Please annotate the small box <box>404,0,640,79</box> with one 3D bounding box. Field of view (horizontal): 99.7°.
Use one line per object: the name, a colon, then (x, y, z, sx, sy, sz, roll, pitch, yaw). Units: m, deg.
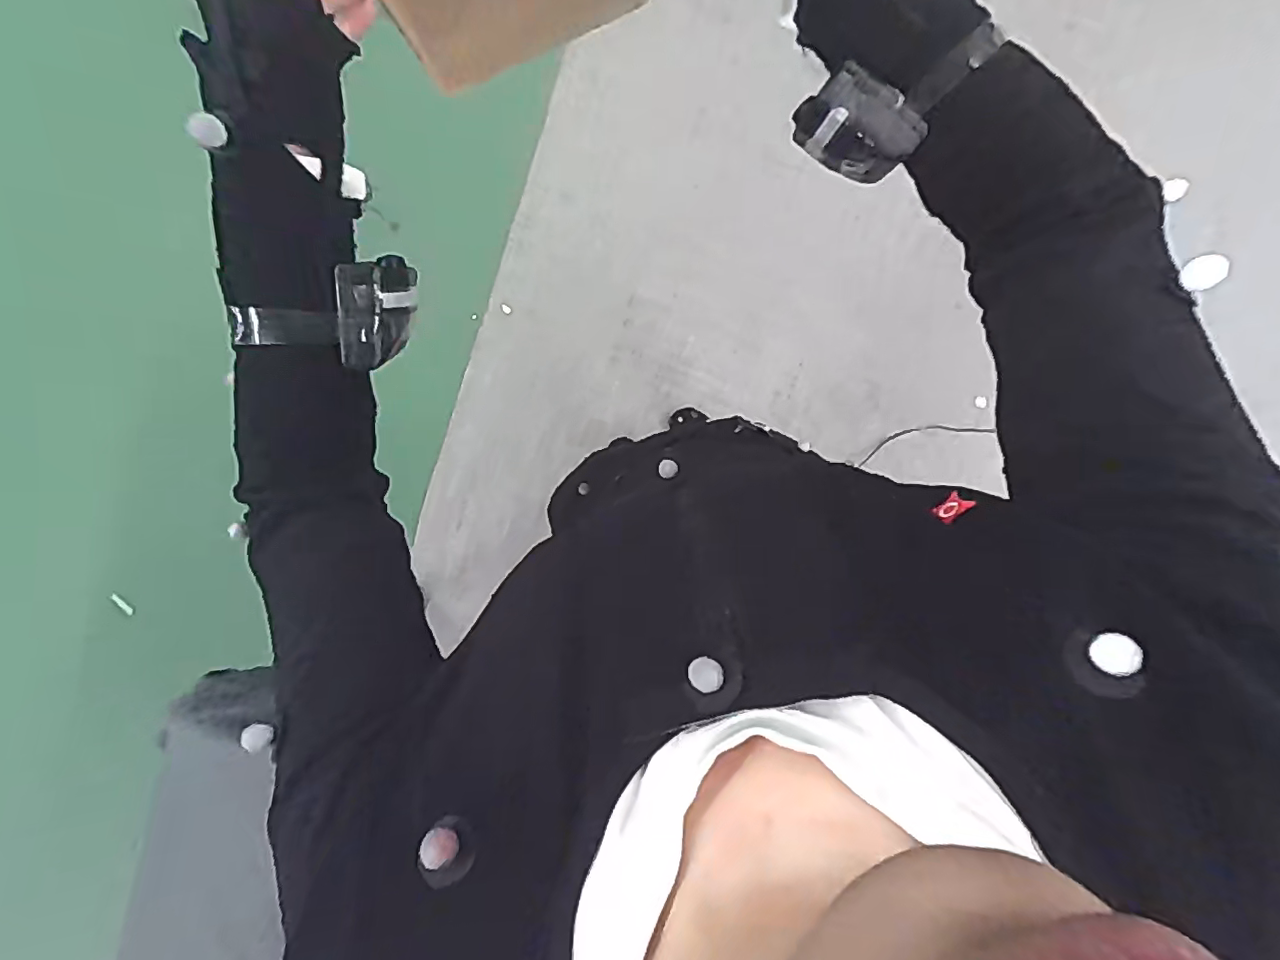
small box: (-0.096, -0.399, 0.329, 0.179, 0.176, 0.168, -21, 96, 4)
